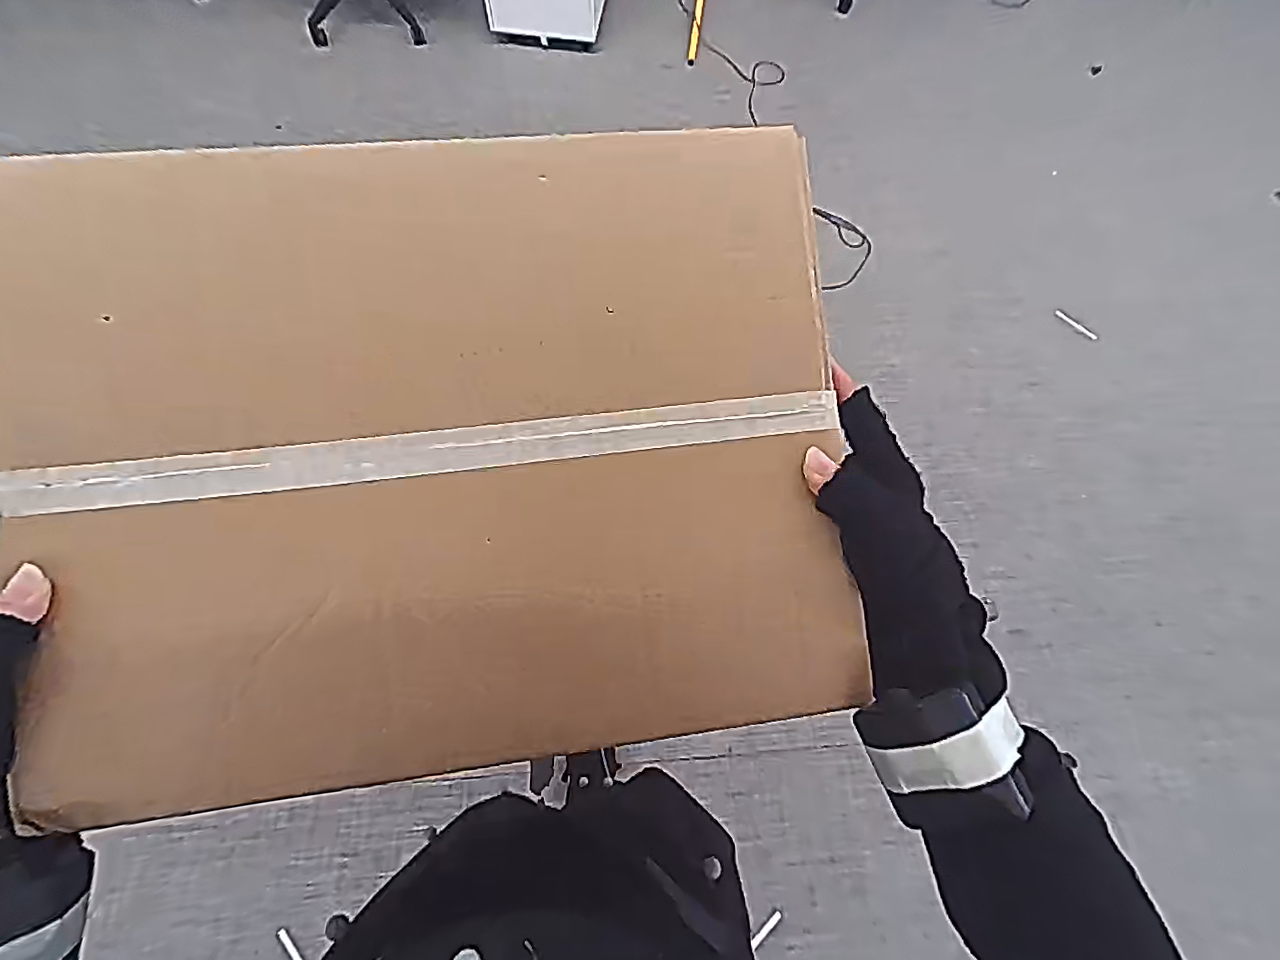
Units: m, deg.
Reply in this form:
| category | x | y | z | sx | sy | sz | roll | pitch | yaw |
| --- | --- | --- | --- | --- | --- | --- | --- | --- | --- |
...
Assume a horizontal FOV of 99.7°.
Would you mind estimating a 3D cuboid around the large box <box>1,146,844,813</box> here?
| category | x | y | z | sx | sy | sz | roll | pitch | yaw |
| --- | --- | --- | --- | --- | --- | --- | --- | --- | --- |
| large box | -0.112 | -0.010 | 0.428 | 0.408 | 0.320 | 0.320 | -6 | 88 | -6 |
